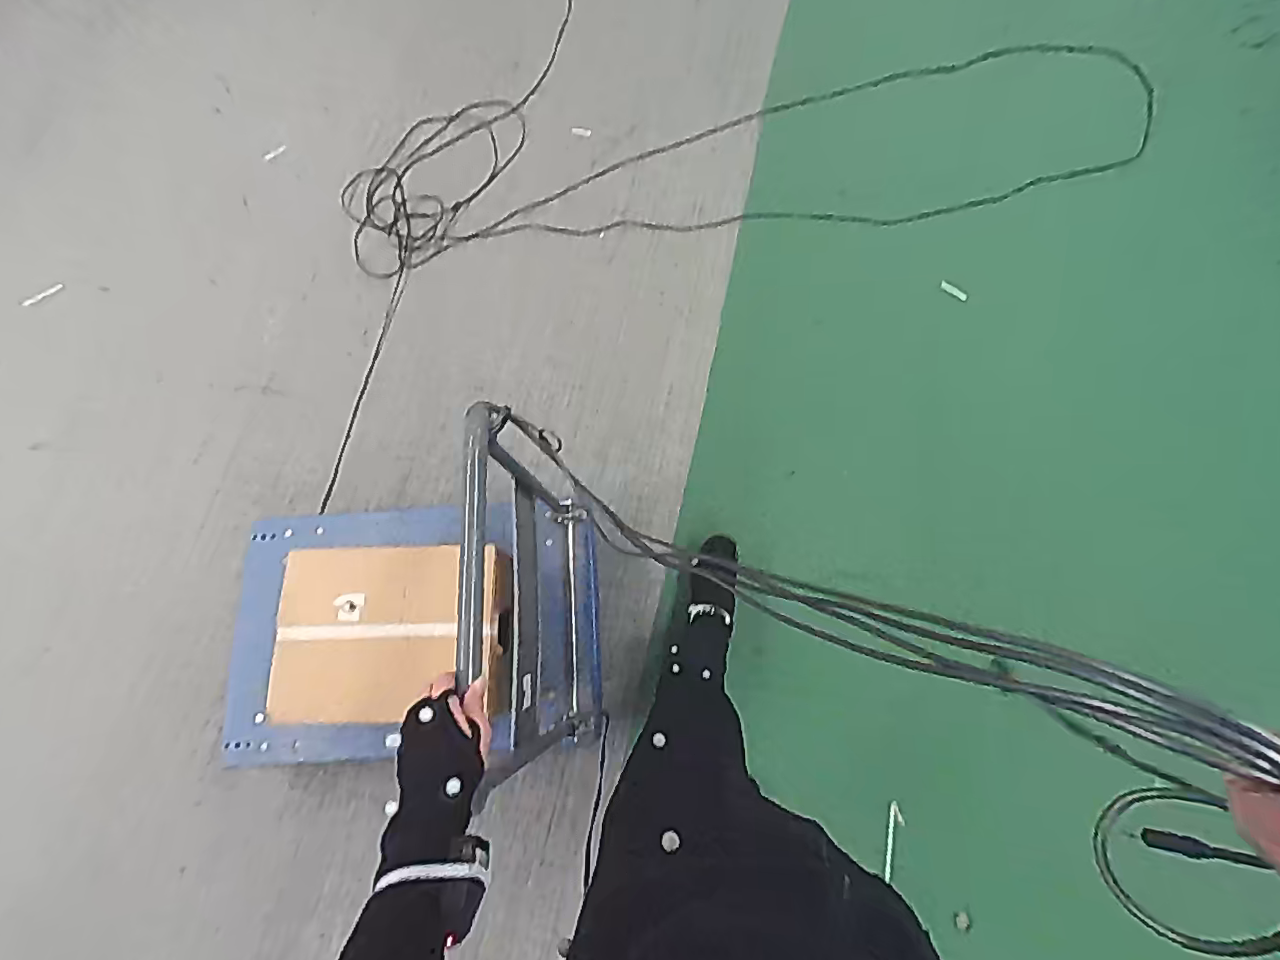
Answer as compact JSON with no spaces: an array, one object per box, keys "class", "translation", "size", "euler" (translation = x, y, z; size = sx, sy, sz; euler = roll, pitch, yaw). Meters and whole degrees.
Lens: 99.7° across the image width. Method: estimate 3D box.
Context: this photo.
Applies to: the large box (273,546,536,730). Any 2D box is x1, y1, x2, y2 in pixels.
[{"class":"large box","translation":[-0.446,0.320,1.122],"size":[0.408,0.320,0.320],"euler":[-2,74,3]}]
